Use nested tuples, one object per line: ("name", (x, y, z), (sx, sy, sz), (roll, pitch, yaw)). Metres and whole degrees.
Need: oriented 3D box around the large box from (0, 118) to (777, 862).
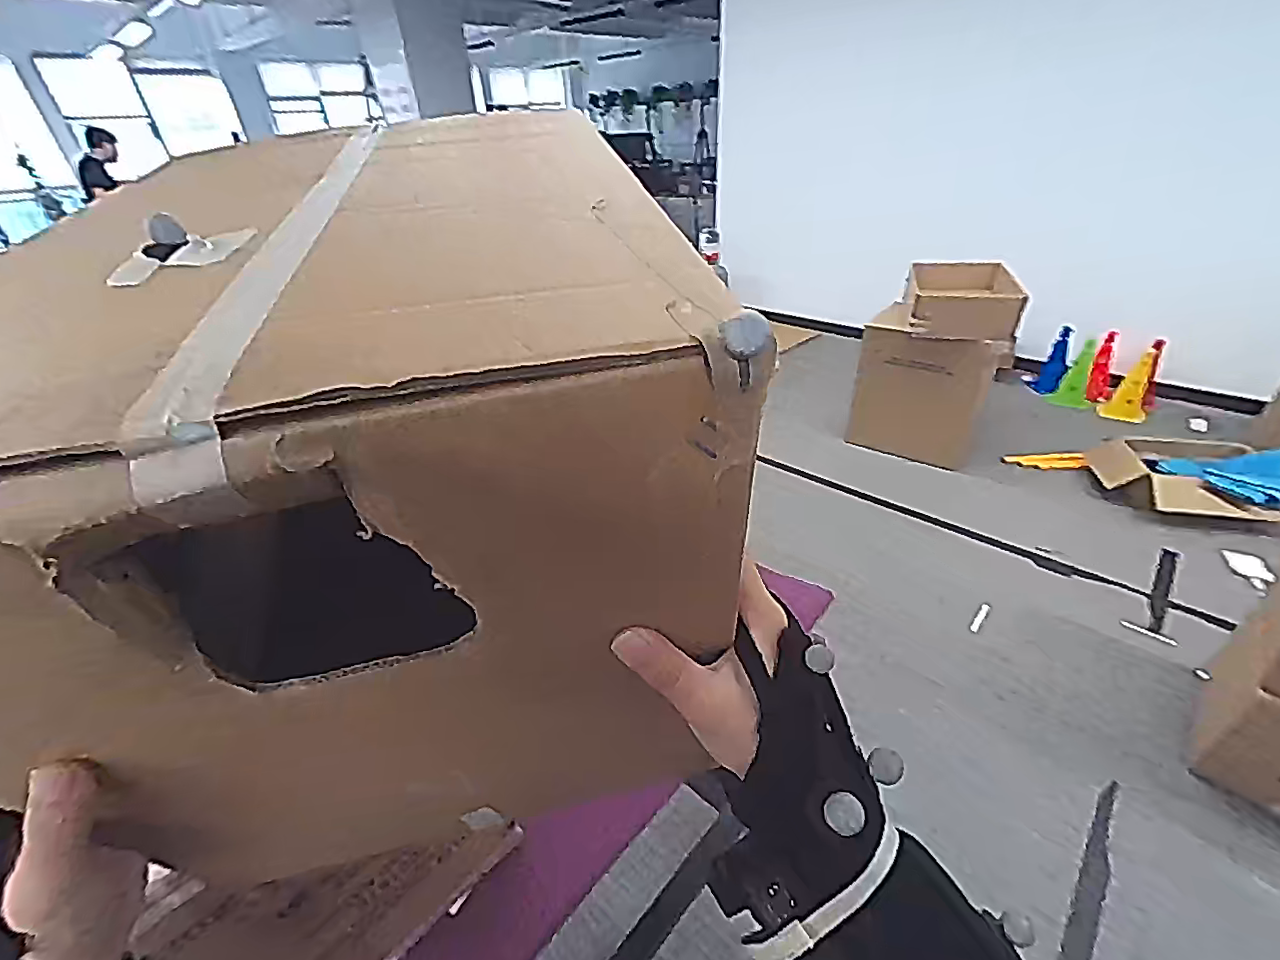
("large box", (-0.142, -0.030, 0.389), (0.320, 0.320, 0.408), (-12, 44, -6))
